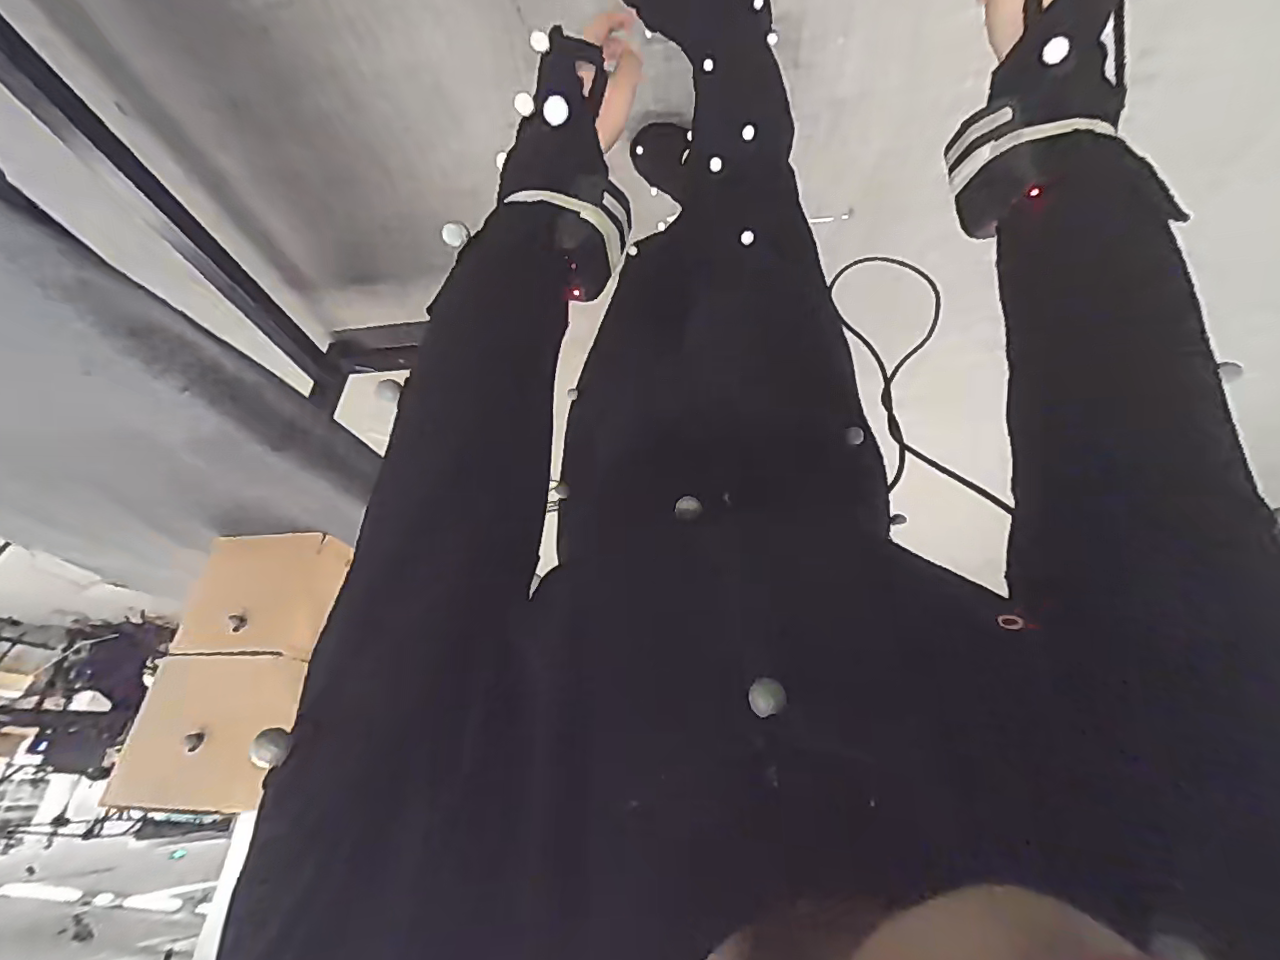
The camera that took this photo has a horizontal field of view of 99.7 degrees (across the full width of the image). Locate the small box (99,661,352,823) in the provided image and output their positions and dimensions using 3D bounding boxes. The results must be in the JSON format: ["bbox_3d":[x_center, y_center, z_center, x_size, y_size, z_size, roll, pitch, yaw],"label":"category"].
[{"bbox_3d":[-0.498,0.329,0.686,0.179,0.176,0.168,-6,149,12],"label":"small box"}]

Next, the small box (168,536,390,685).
[{"bbox_3d":[-0.494,0.189,0.771,0.179,0.176,0.168,-4,150,11],"label":"small box"}]
